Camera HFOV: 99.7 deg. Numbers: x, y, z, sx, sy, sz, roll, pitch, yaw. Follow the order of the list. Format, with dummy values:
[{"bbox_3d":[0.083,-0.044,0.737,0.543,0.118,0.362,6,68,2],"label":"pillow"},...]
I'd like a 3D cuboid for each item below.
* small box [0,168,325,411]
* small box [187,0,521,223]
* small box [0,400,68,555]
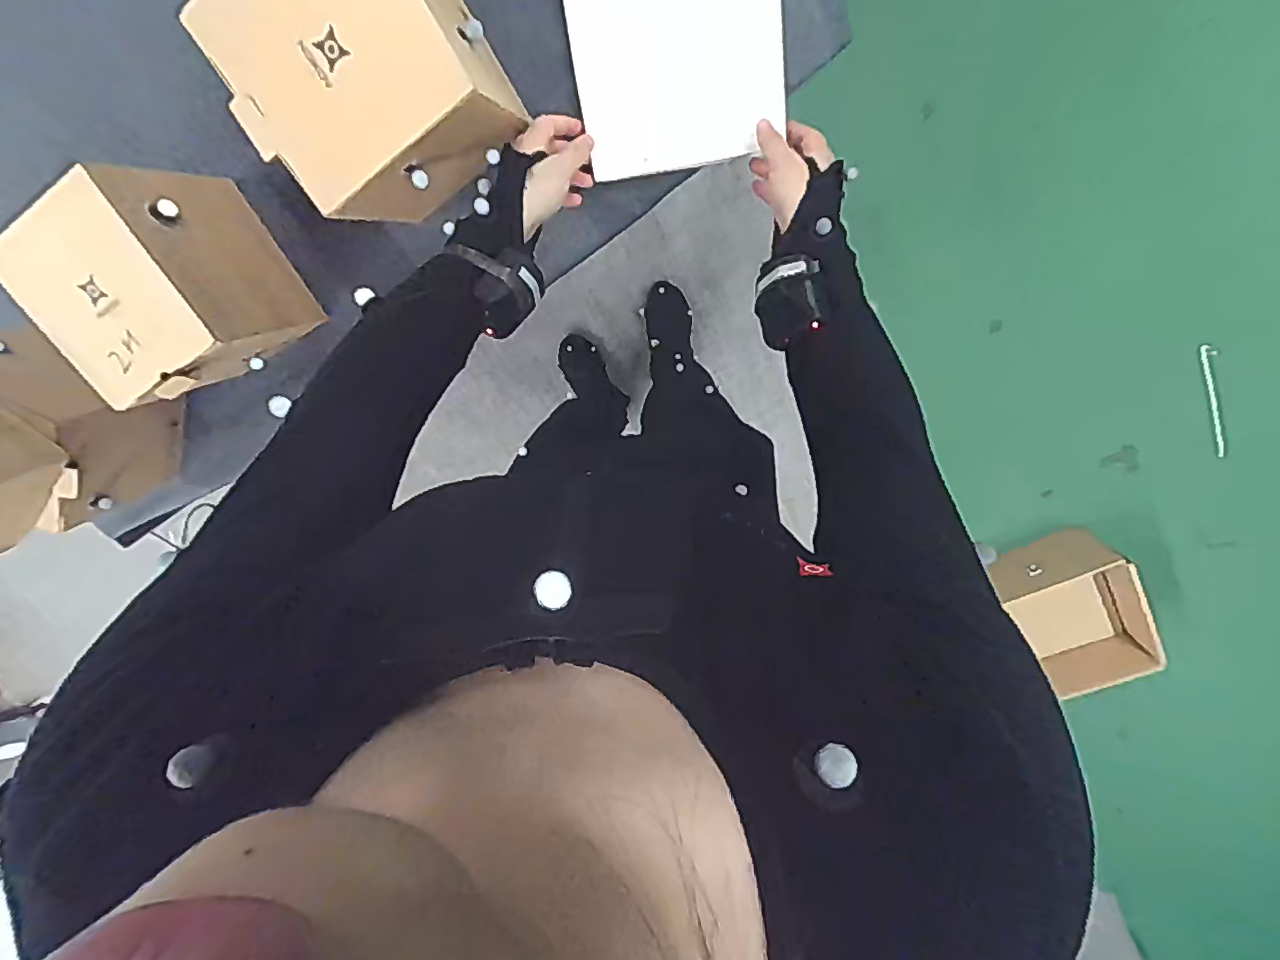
[{"bbox_3d":[-0.503,-0.206,0.593,0.168,0.176,0.179,-23,110,18],"label":"small box"},{"bbox_3d":[-0.228,-0.358,0.487,0.179,0.176,0.168,-27,109,19],"label":"small box"},{"bbox_3d":[-0.749,0.006,0.542,0.168,0.176,0.179,43,114,-14],"label":"small box"}]
